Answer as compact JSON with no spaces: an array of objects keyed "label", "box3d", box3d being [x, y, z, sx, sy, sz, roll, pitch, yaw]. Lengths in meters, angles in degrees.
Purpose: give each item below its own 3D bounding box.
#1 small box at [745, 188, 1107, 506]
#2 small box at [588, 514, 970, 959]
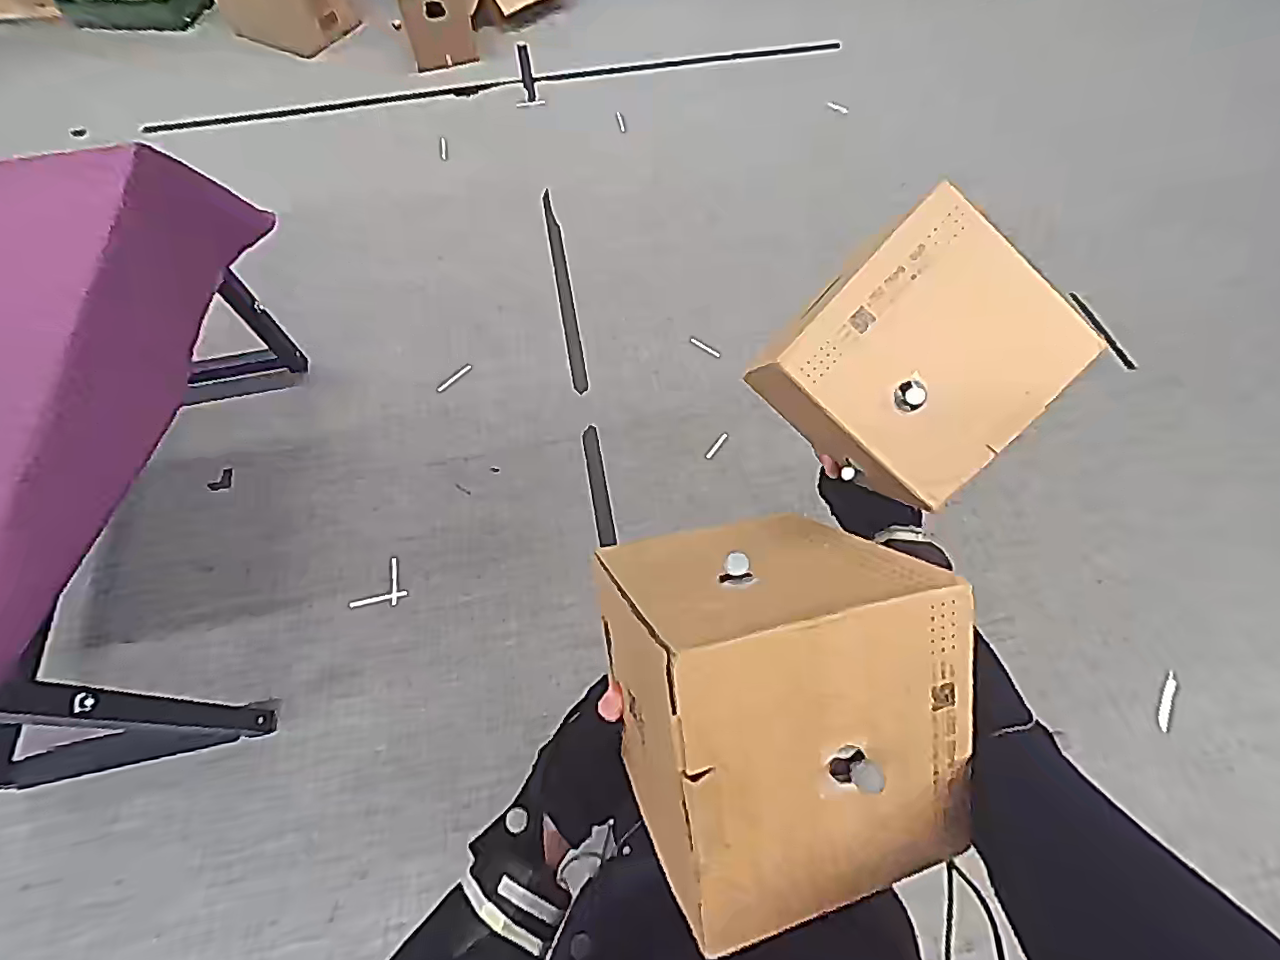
[{"label":"small box","box3d":[0.210,-0.105,0.456,0.176,0.179,0.168,44,97,-4]},{"label":"small box","box3d":[0.076,0.125,0.342,0.176,0.179,0.168,-8,100,-16]}]
